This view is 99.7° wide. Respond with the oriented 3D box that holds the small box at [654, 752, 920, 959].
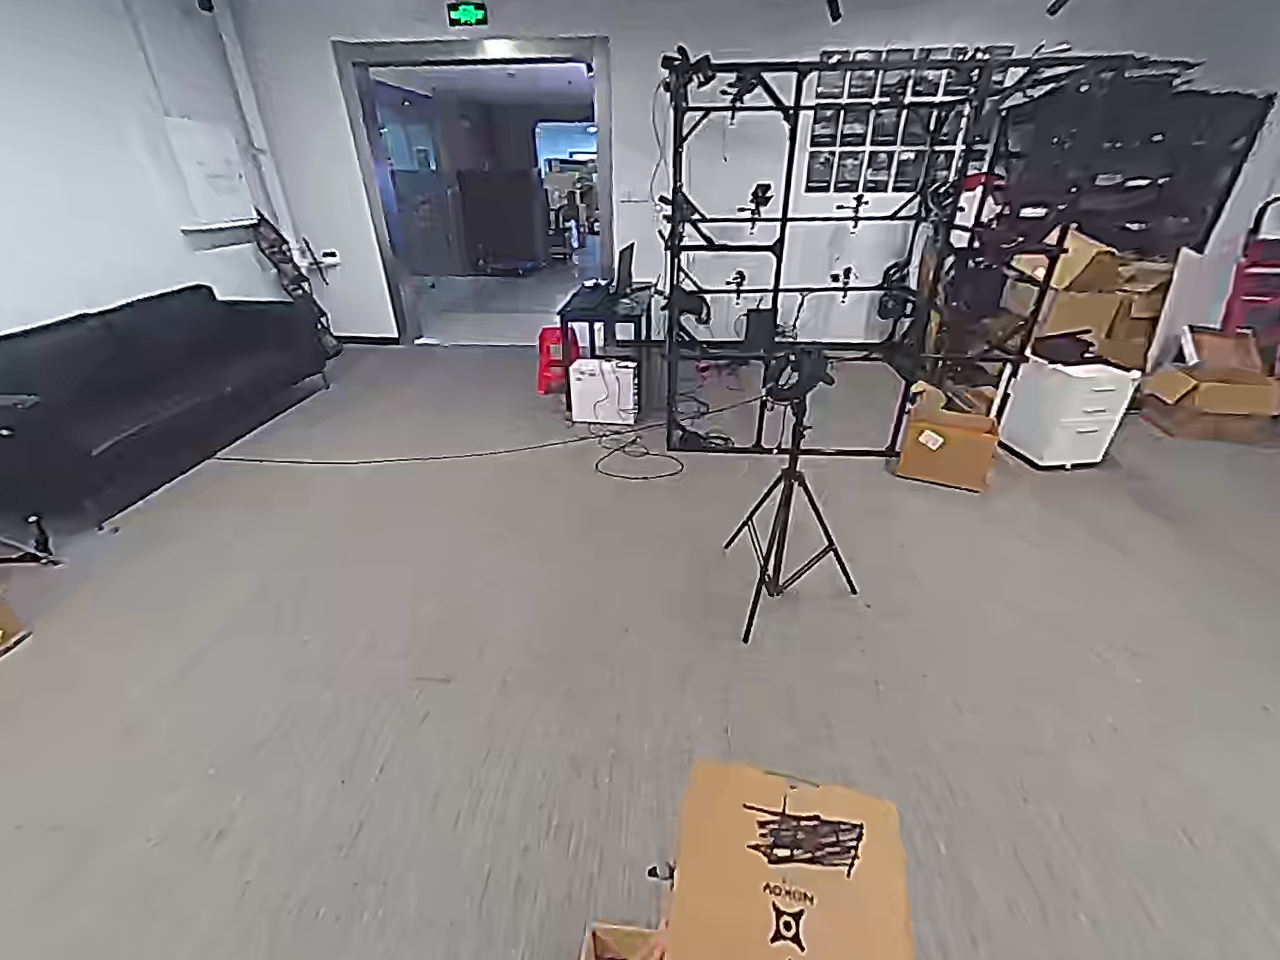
[{"bbox_3d":[0.103,0.353,0.431,0.168,0.176,0.179,10,46,7],"label":"small box"}]
